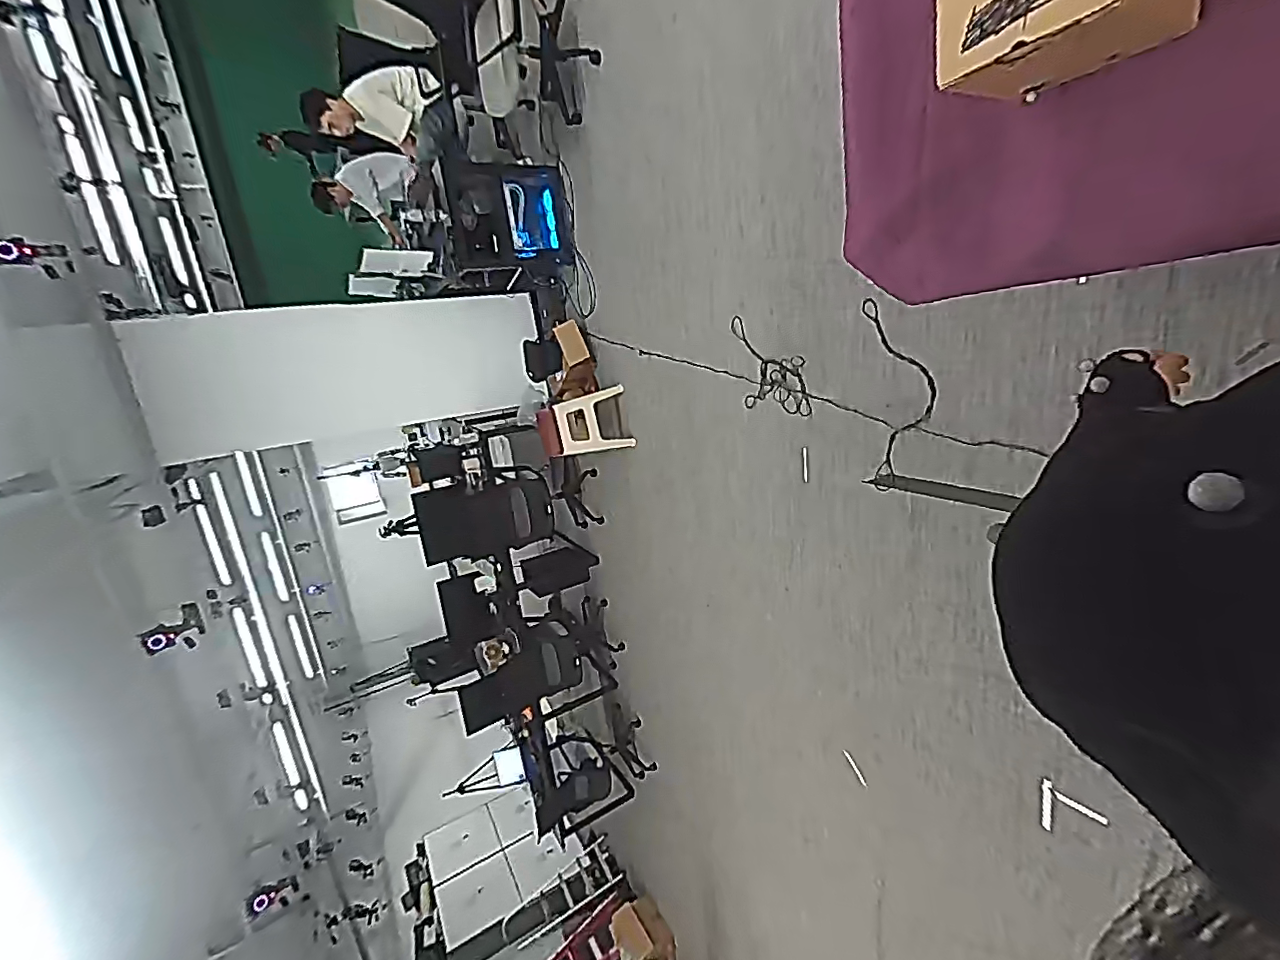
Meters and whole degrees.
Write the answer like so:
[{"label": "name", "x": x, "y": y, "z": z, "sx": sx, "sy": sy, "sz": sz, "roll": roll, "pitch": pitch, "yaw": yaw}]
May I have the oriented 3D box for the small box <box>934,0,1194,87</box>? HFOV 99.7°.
[{"label": "small box", "x": 0.423, "y": -0.523, "z": 0.539, "sx": 0.168, "sy": 0.176, "sz": 0.179, "roll": 17, "pitch": 118, "yaw": 58}]
